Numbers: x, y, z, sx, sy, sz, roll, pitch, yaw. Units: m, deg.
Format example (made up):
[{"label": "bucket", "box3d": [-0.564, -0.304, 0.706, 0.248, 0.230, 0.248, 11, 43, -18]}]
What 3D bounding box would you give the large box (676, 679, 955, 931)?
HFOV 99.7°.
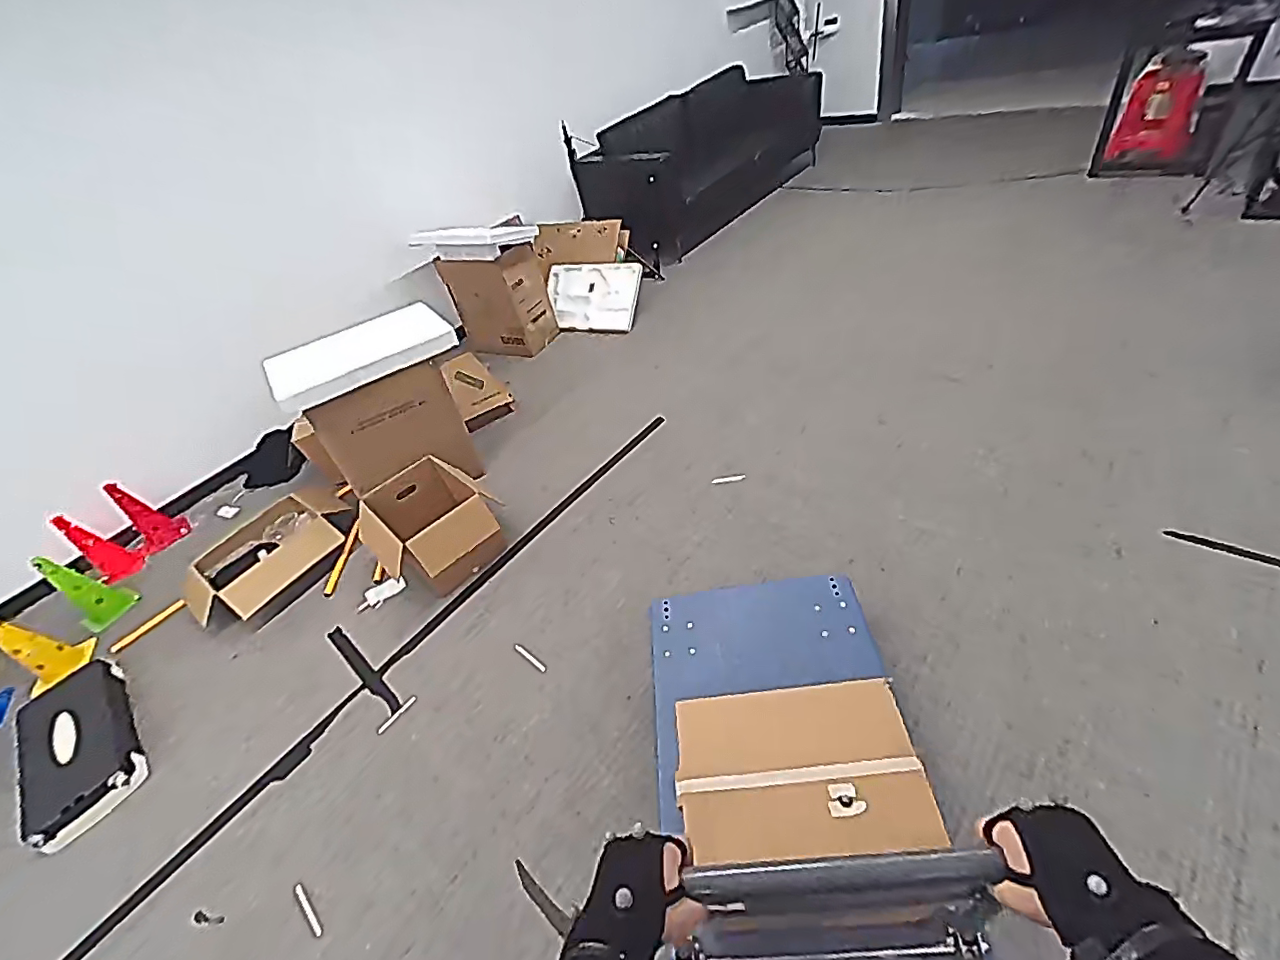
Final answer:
[{"label": "large box", "box3d": [0.296, 0.618, 1.027, 0.408, 0.320, 0.320, -9, 42, 6]}]
